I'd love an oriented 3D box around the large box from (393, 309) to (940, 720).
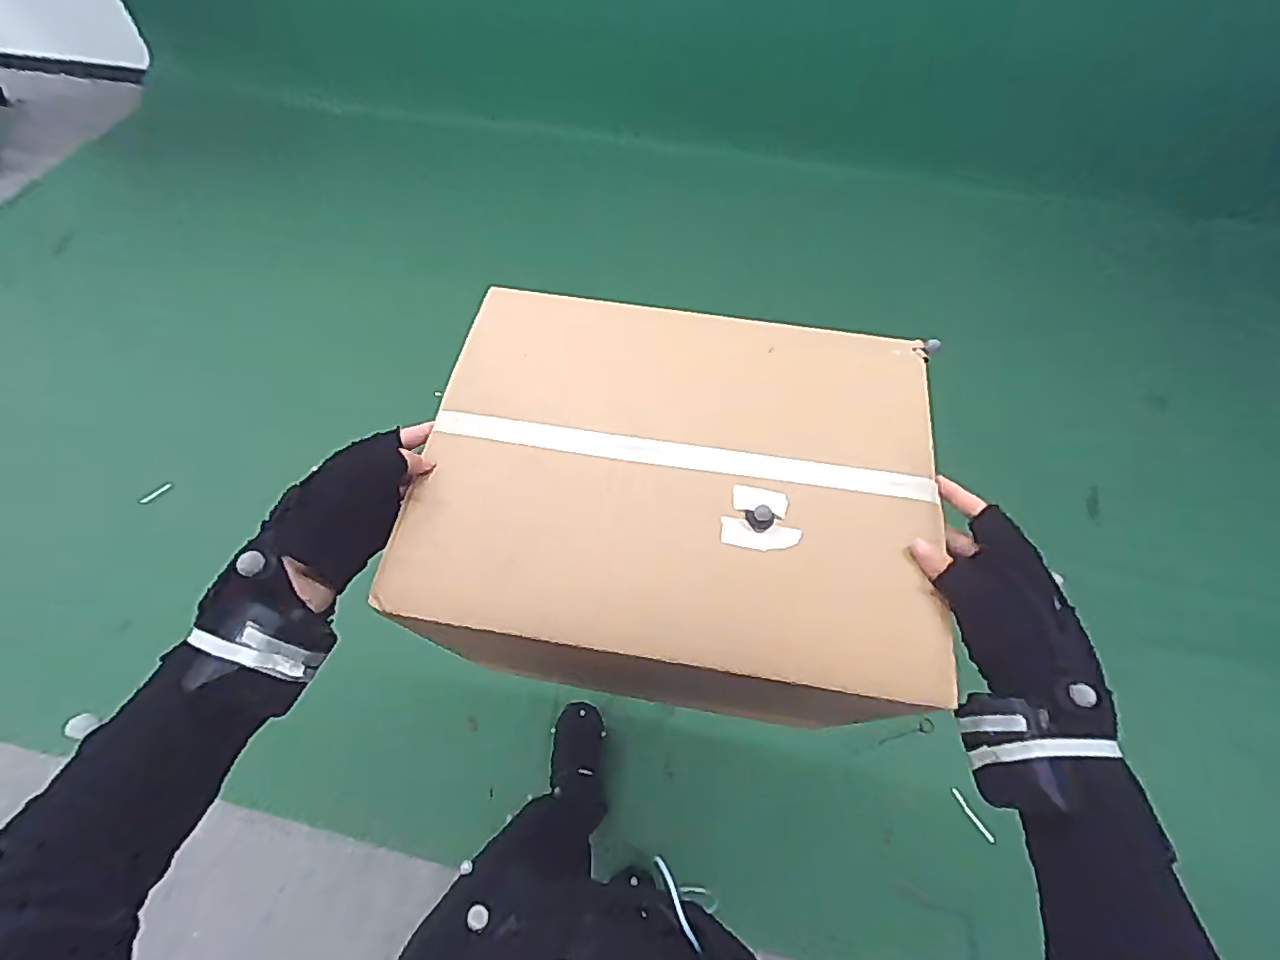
[{"bbox_3d":[0.032,0.056,0.584,0.408,0.320,0.320,8,64,4],"label":"large box"}]
